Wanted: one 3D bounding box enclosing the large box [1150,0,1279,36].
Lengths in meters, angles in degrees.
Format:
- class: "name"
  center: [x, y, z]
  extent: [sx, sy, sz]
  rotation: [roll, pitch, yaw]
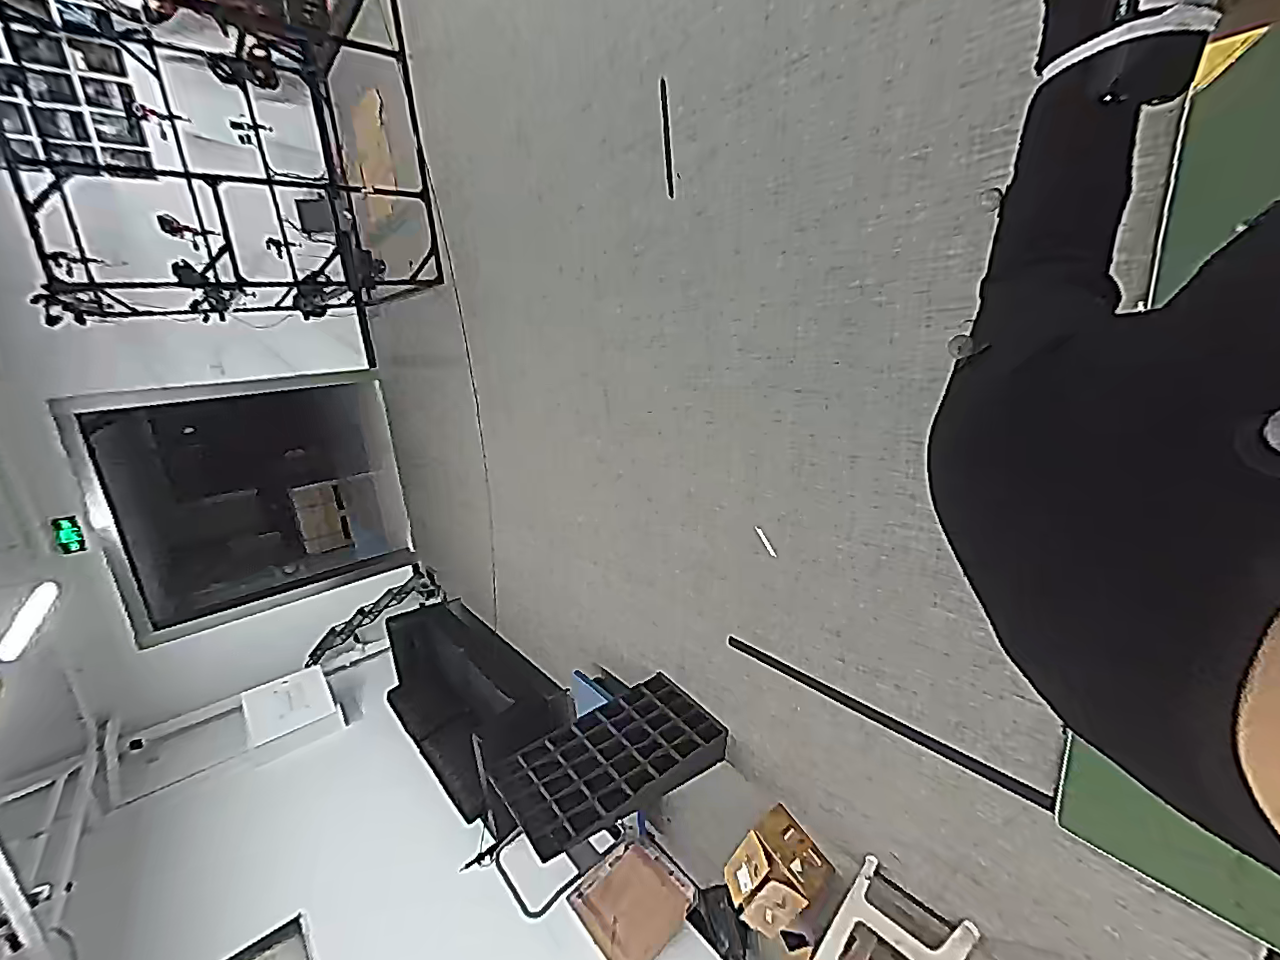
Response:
- class: "large box"
  center: [0.561, -0.506, 0.270]
  extent: [0.408, 0.320, 0.320]
  rotation: [11, 123, 48]
